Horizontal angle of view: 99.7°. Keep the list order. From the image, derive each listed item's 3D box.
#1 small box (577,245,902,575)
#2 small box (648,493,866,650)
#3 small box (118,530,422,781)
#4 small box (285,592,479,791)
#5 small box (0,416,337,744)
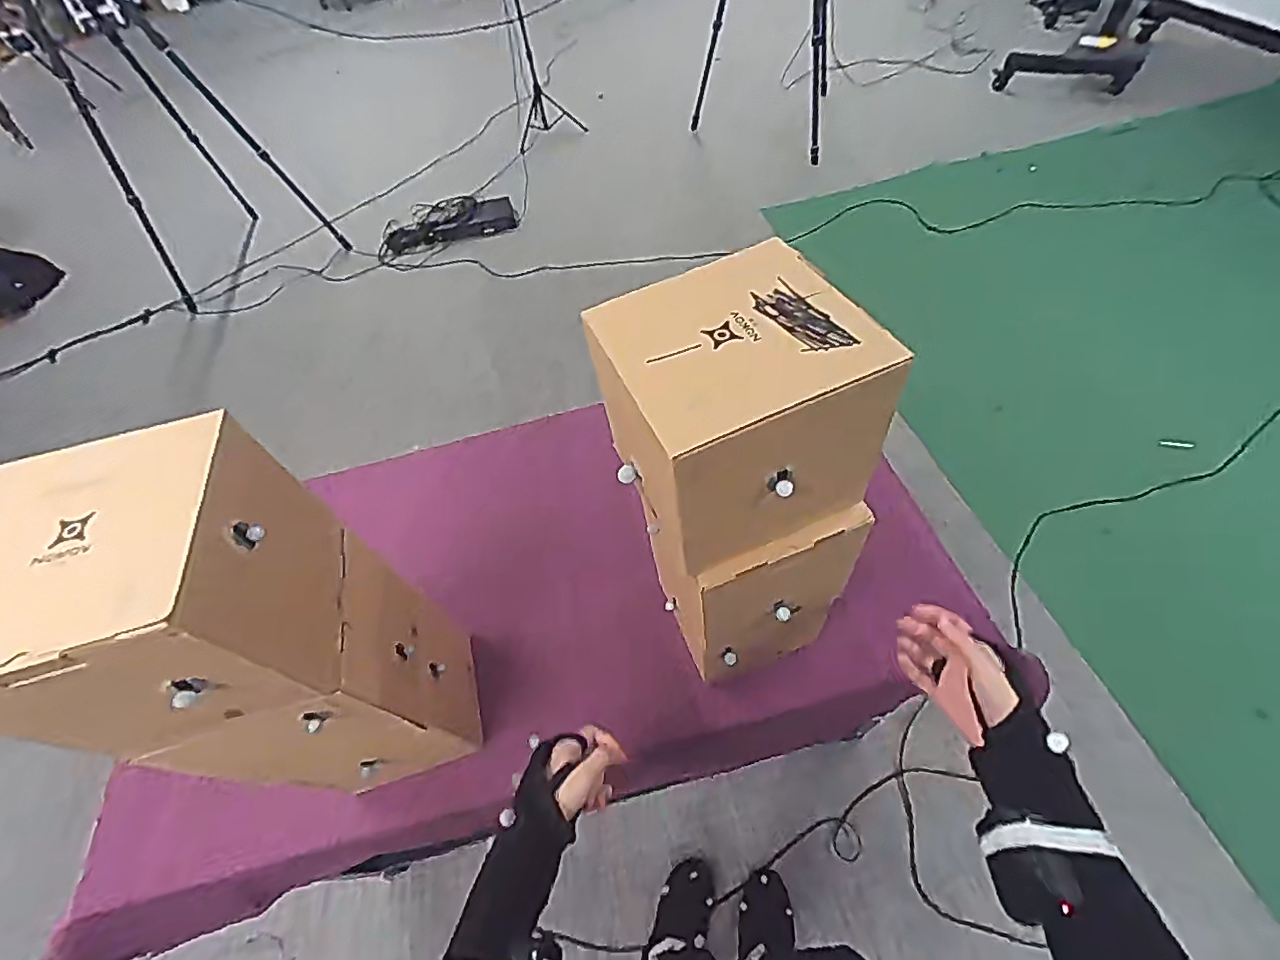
[{"bbox_3d":[0.069,-0.052,0.441,0.179,0.176,0.168,-23,54,-7],"label":"small box"},{"bbox_3d":[0.101,0.049,0.568,0.168,0.176,0.179,-21,54,-5],"label":"small box"},{"bbox_3d":[-0.342,0.181,0.543,0.179,0.176,0.168,-17,54,-5],"label":"small box"},{"bbox_3d":[-0.323,0.270,0.678,0.179,0.176,0.168,-18,55,-4],"label":"small box"},{"bbox_3d":[-0.360,0.085,0.413,0.168,0.176,0.179,-15,53,-4],"label":"small box"}]
